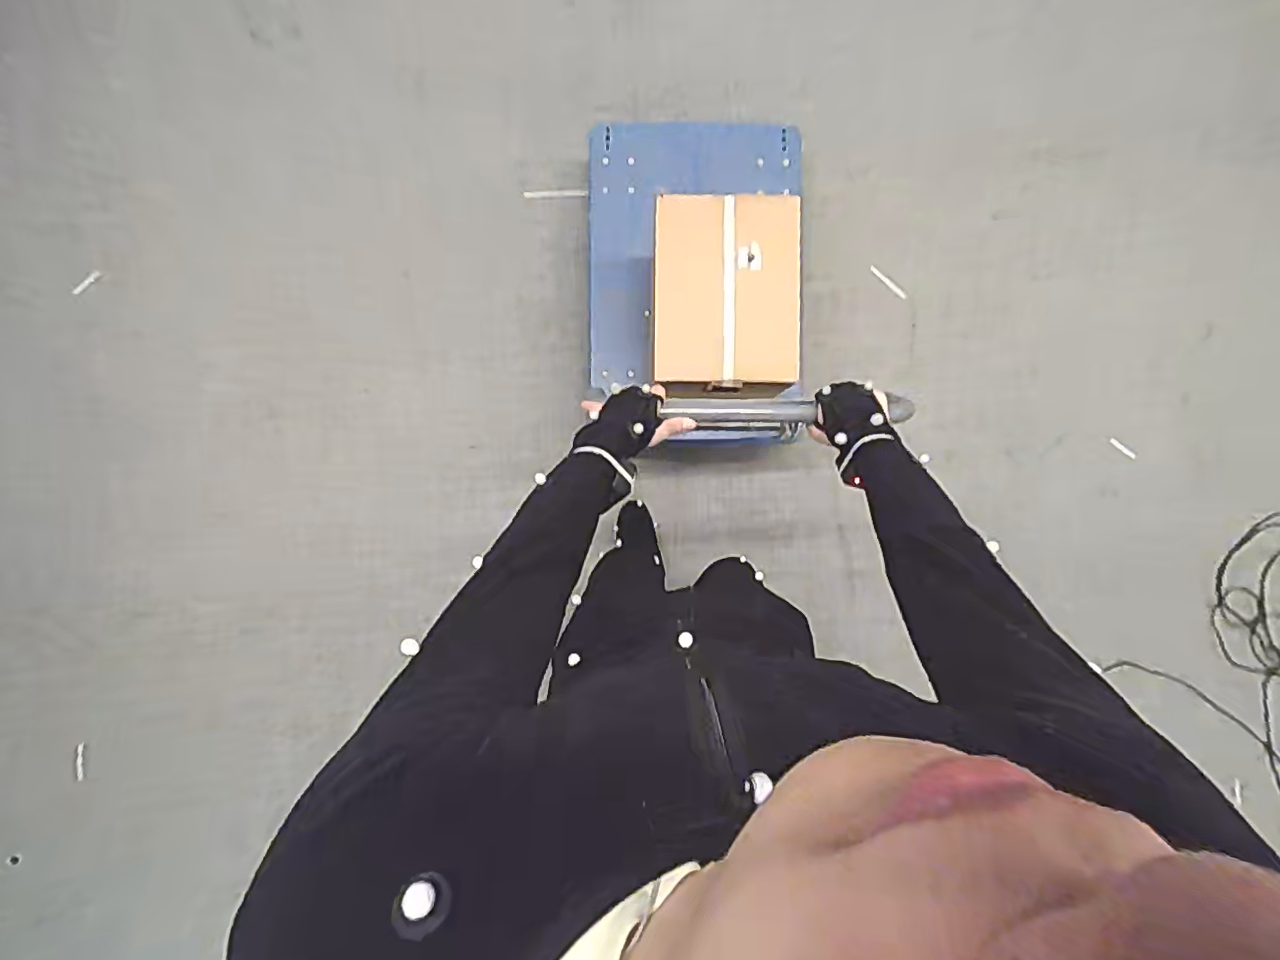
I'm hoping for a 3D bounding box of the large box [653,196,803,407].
[{"bbox_3d":[0.188,-0.398,1.293,0.320,0.320,0.408,0,88,-2],"label":"large box"}]
